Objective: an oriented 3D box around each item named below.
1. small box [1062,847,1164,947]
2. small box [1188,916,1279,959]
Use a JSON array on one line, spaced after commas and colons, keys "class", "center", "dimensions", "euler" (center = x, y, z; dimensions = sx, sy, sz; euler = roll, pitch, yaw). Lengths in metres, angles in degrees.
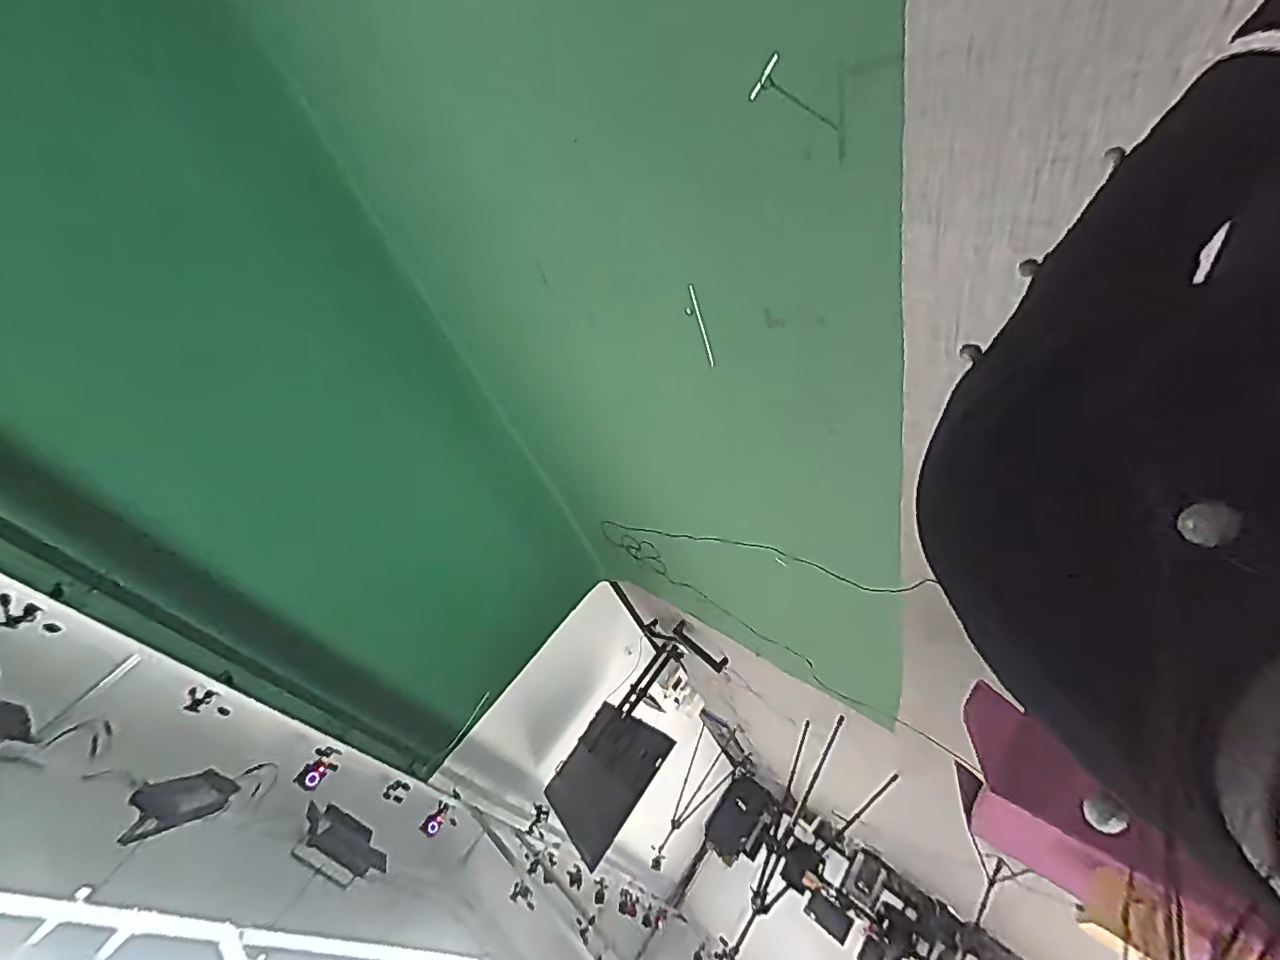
[{"class": "small box", "center": [1.400, 1.227, 1.601], "dimensions": [0.168, 0.176, 0.179], "euler": [25, 153, 33]}, {"class": "small box", "center": [1.601, 1.308, 1.429], "dimensions": [0.179, 0.176, 0.168], "euler": [22, 151, 39]}]
